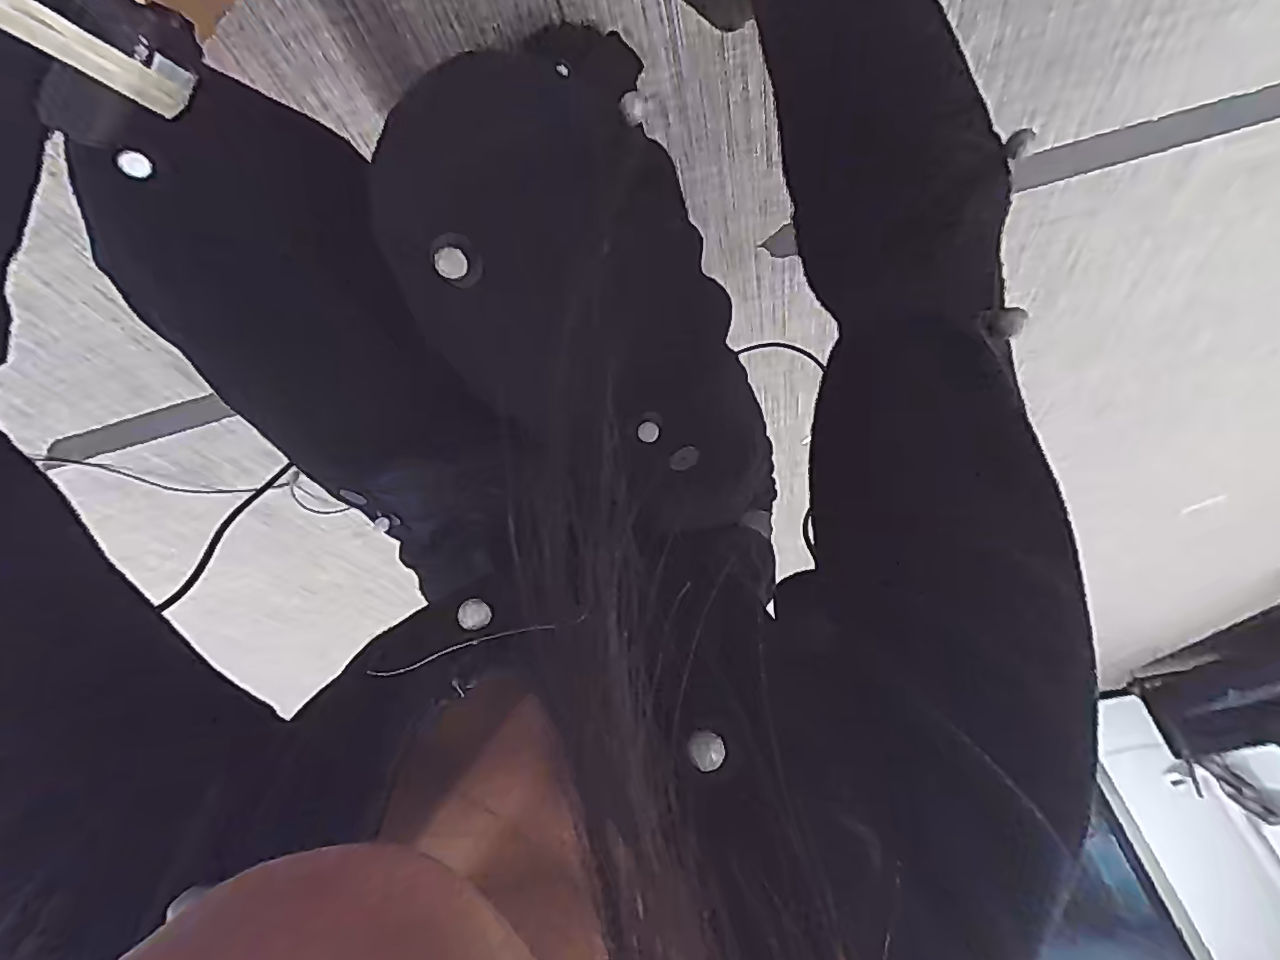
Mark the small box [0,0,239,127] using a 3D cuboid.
[{"bbox_3d":[-0.398,-0.364,0.333,0.168,0.176,0.179,-15,145,6],"label":"small box"}]
